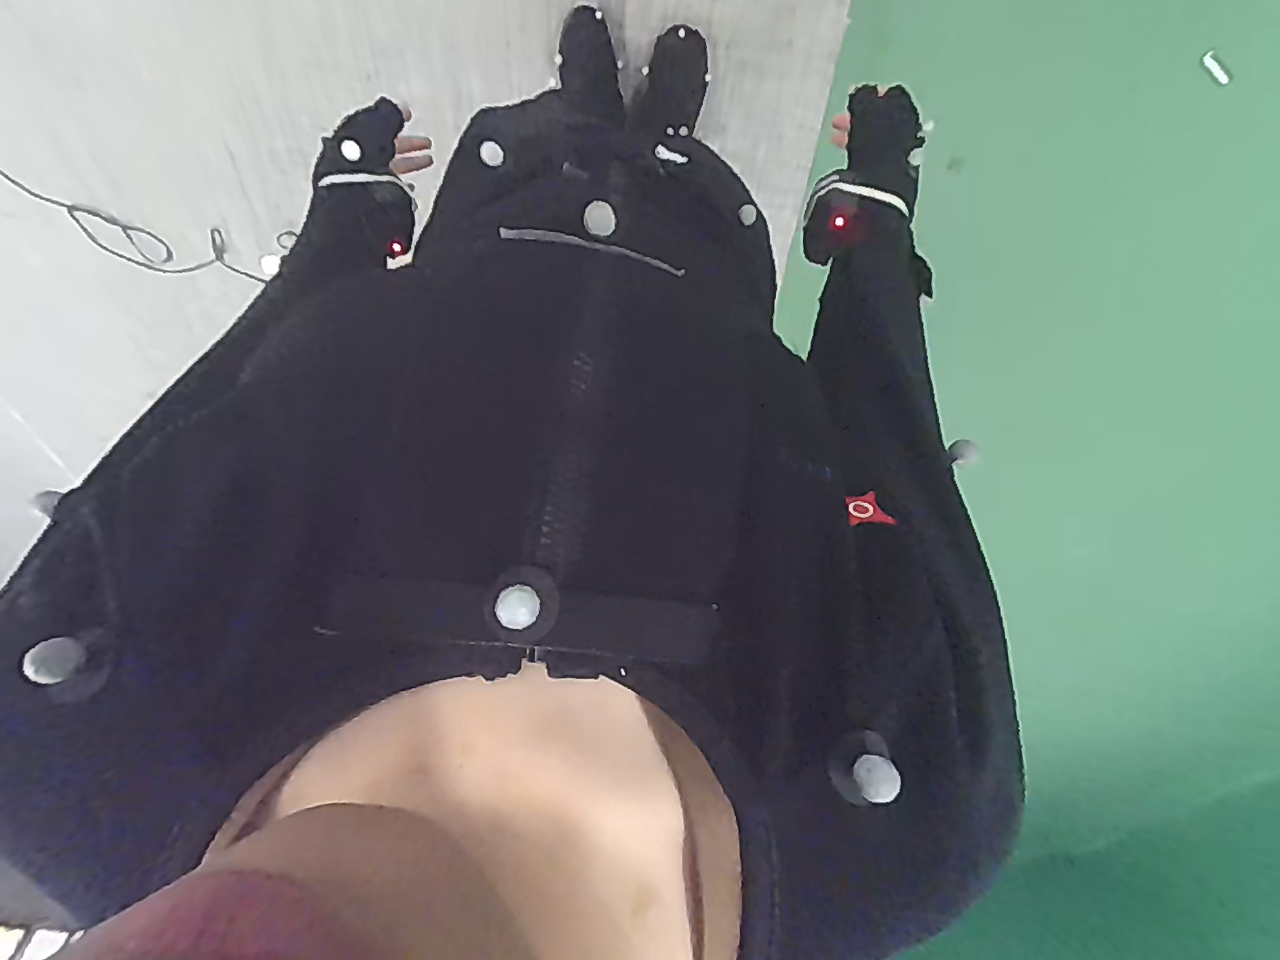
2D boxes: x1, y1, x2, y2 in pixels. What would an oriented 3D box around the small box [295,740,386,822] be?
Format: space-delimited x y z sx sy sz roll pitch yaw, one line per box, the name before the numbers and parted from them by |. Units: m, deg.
small box | -0.922 0.939 1.686 0.168 0.176 0.179 5 133 1
